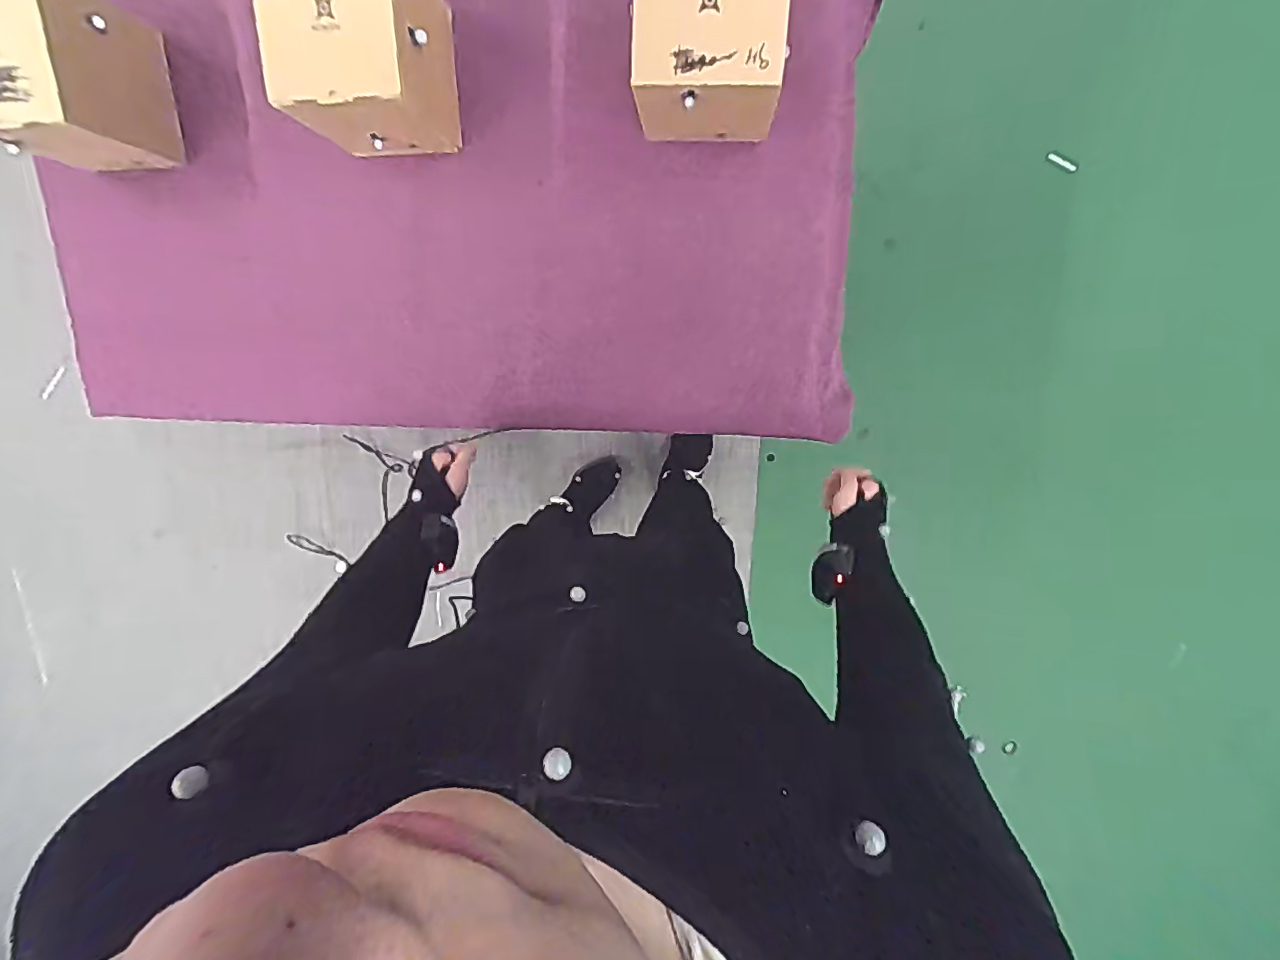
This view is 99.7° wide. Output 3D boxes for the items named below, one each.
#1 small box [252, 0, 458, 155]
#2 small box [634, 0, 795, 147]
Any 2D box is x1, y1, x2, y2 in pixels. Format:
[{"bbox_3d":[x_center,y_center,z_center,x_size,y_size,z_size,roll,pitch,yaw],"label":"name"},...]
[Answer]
[{"bbox_3d":[-0.342,-0.533,0.675,0.168,0.176,0.179,0,104,4],"label":"small box"},{"bbox_3d":[0.086,-0.524,0.638,0.168,0.176,0.179,4,104,5],"label":"small box"}]
